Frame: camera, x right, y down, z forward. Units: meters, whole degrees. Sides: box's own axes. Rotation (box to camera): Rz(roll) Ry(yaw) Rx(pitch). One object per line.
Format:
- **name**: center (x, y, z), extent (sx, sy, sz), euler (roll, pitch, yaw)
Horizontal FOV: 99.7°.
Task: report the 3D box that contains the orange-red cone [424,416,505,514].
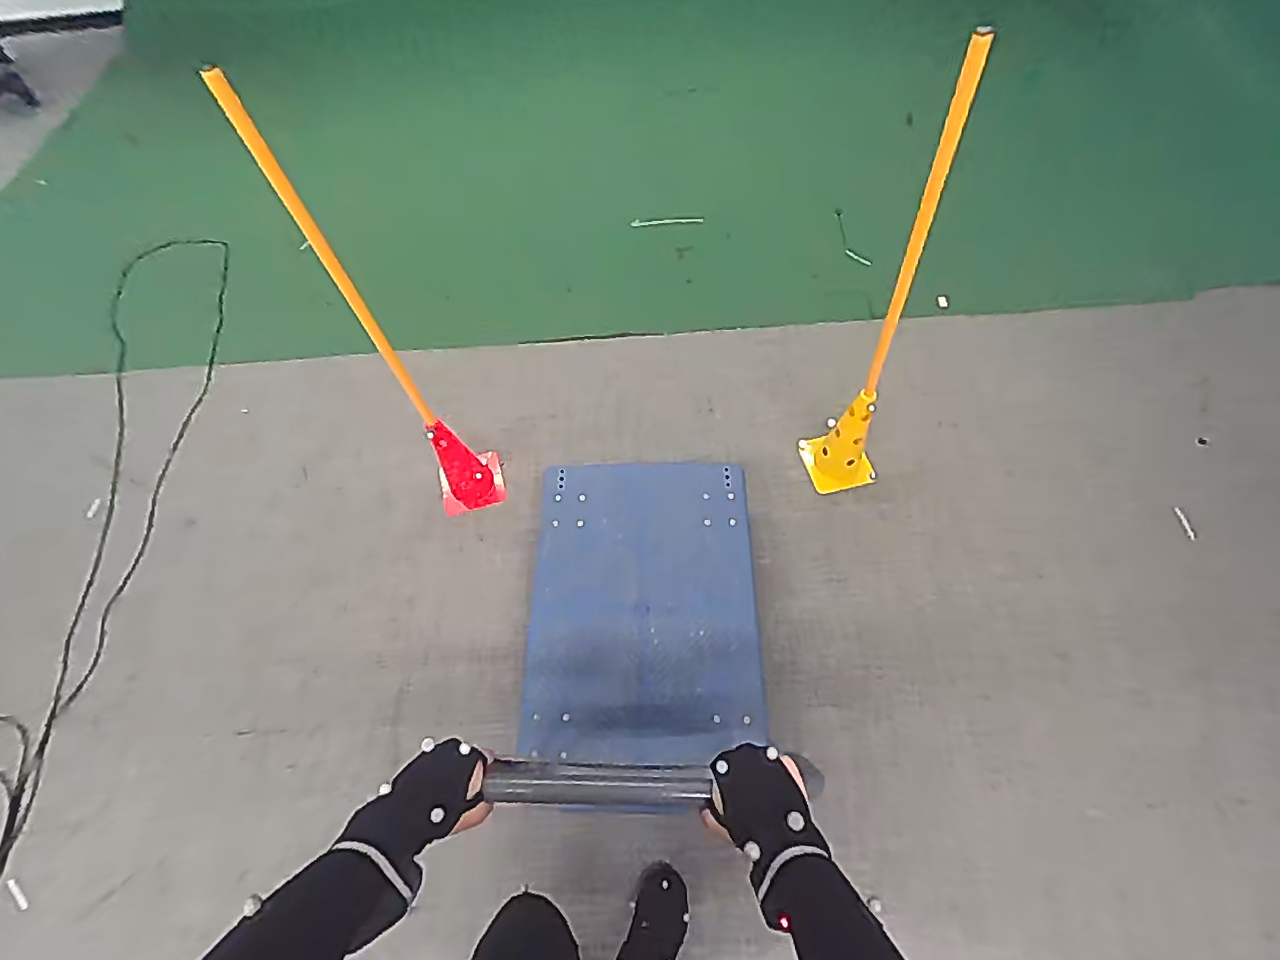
- **orange-red cone**: center (-0.561, -0.073, 1.621), extent (0.199, 0.360, 0.198), euler (-17, 61, -4)
